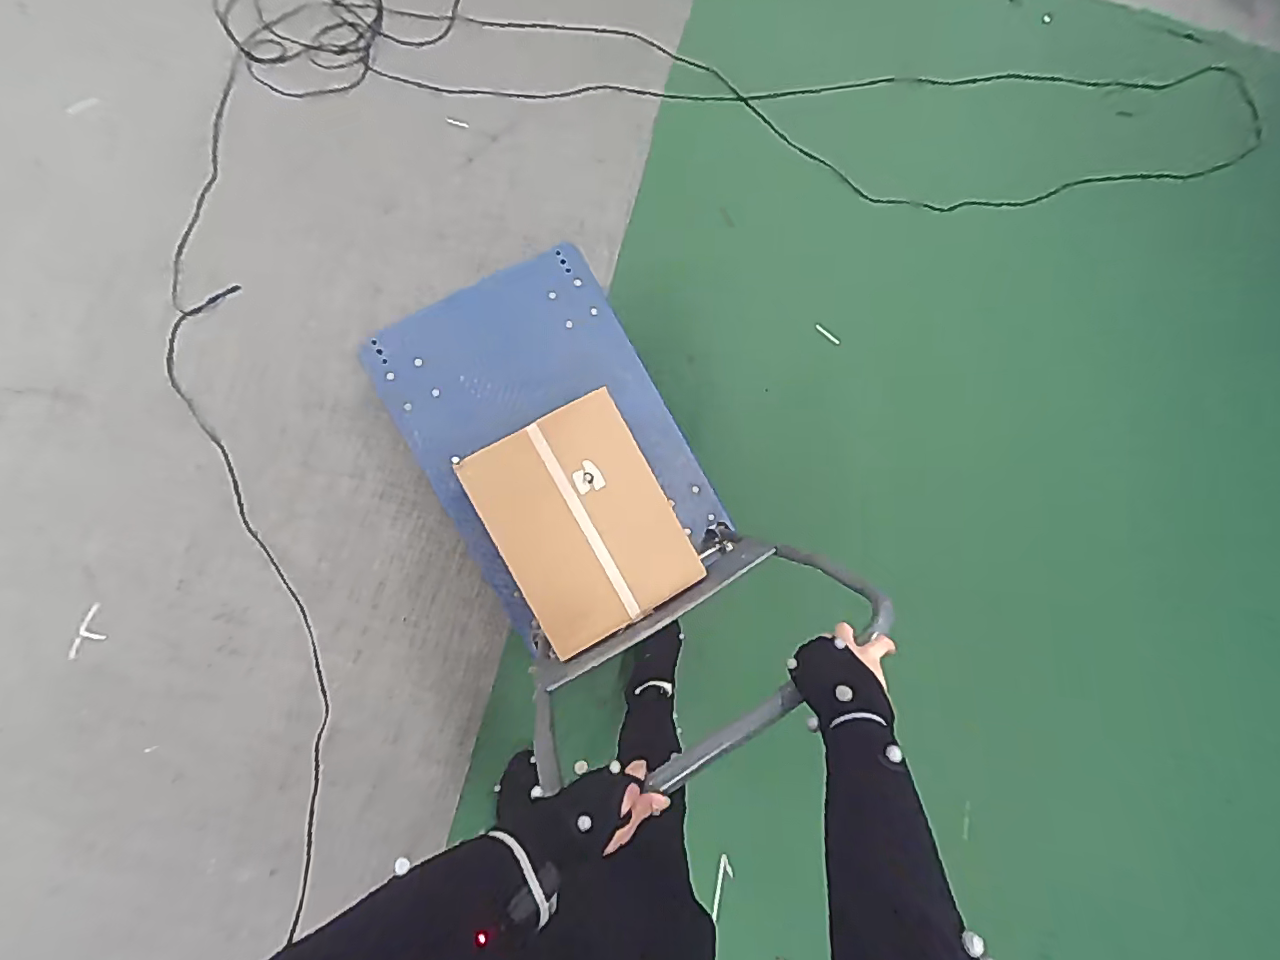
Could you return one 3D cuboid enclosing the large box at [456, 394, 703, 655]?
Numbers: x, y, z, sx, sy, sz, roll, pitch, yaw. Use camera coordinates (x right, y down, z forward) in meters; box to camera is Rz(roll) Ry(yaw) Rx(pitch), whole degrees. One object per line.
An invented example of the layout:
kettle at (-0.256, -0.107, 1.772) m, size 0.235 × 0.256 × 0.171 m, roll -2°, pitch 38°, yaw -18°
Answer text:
large box at (-0.124, 0.091, 1.153) m, size 0.320 × 0.320 × 0.408 m, roll -30°, pitch 89°, yaw -9°
